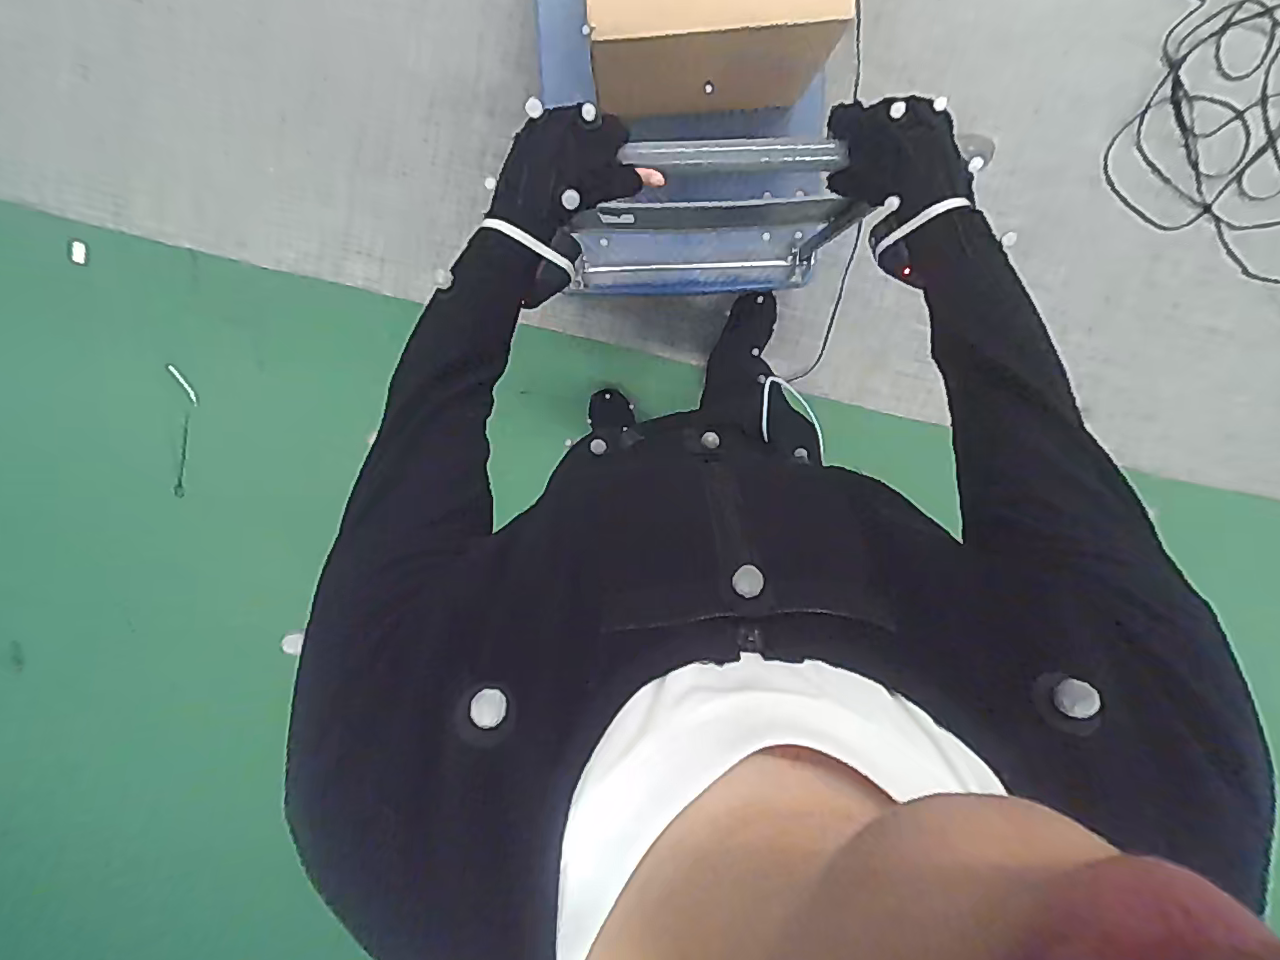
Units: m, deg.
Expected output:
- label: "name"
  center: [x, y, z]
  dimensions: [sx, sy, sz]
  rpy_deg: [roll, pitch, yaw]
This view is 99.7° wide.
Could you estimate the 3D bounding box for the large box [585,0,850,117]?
- label: "large box"
  center: [0.107, -0.870, 0.928]
  dimensions: [0.408, 0.320, 0.320]
  rpy_deg: [-5, 104, 1]
